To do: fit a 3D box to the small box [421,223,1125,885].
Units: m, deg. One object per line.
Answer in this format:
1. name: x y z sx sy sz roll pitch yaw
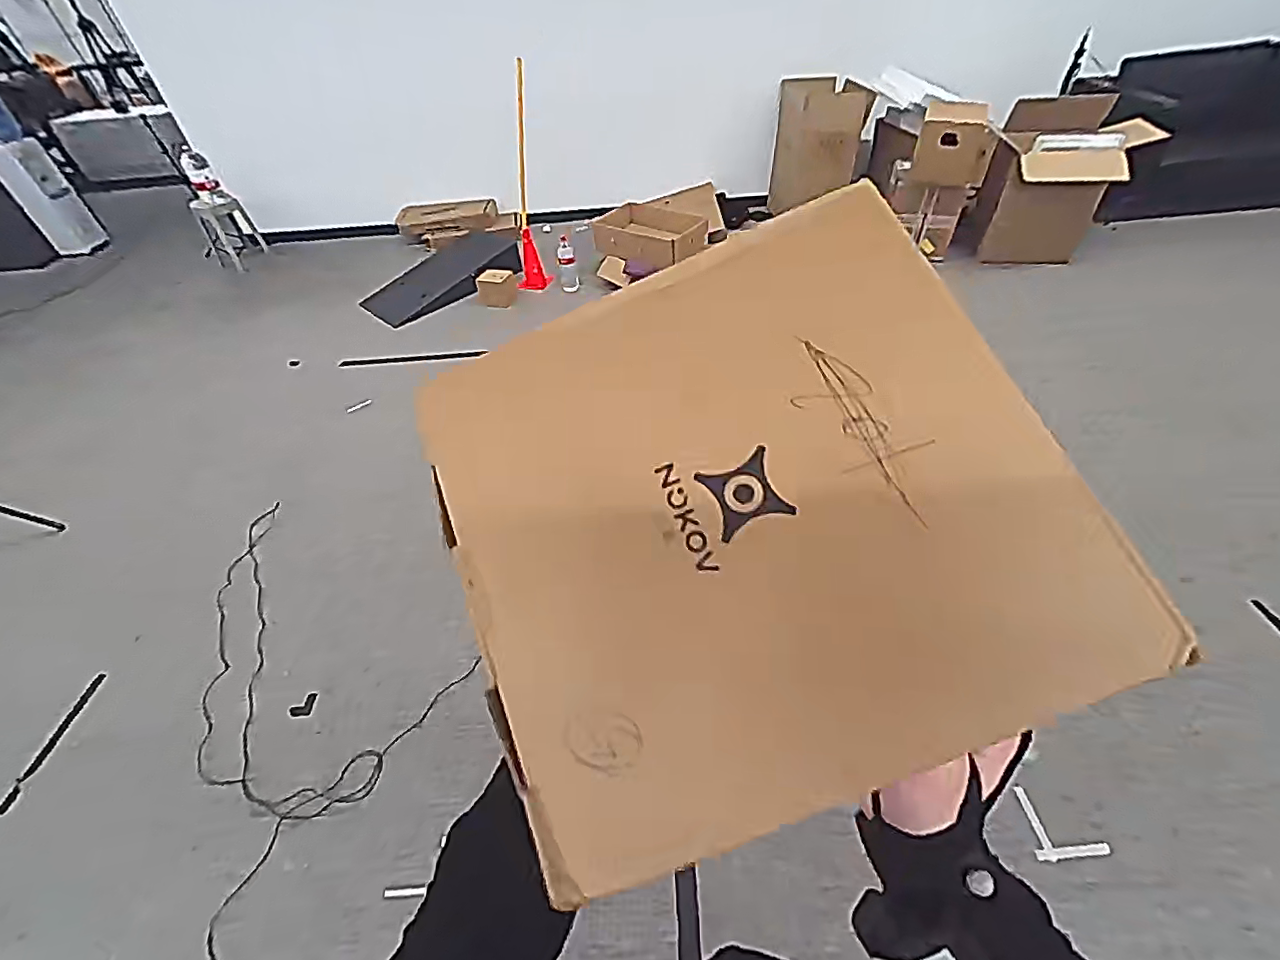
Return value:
1. small box: 0.038 0.033 0.250 0.179 0.176 0.168 -24 72 2
